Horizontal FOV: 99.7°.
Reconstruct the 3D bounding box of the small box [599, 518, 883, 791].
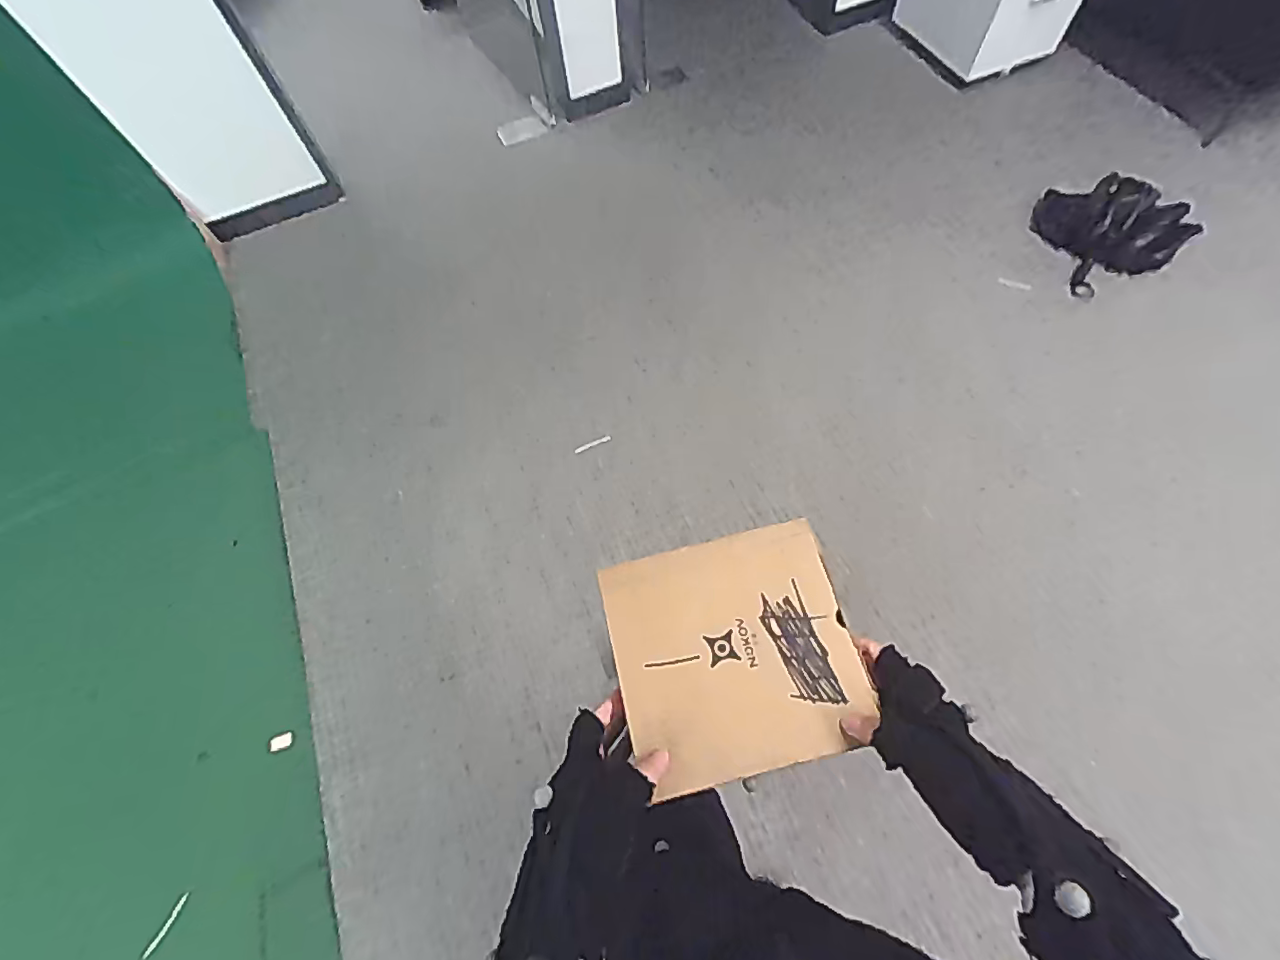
[{"bbox_3d":[0.072,0.153,0.472,0.179,0.176,0.168,-14,64,-2],"label":"small box"}]
